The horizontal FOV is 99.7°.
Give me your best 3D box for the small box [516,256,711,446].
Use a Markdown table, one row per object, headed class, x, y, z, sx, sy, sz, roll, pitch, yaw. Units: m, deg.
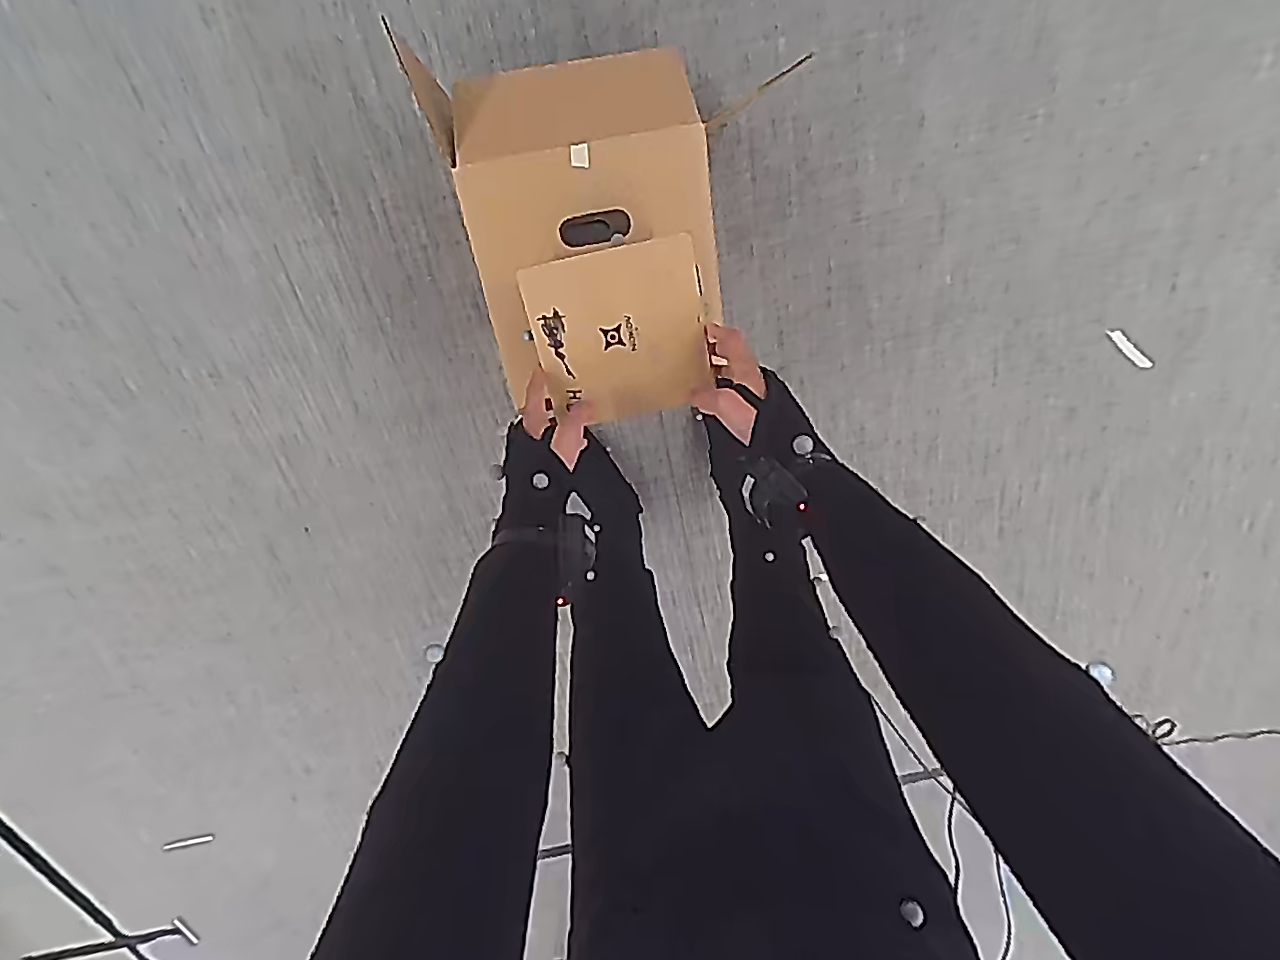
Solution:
| class | x | y | z | sx | sy | sz | roll | pitch | yaw |
| --- | --- | --- | --- | --- | --- | --- | --- | --- | --- |
| small box | -0.028 | -0.158 | 0.626 | 0.179 | 0.176 | 0.168 | -12 | 113 | 2 |
